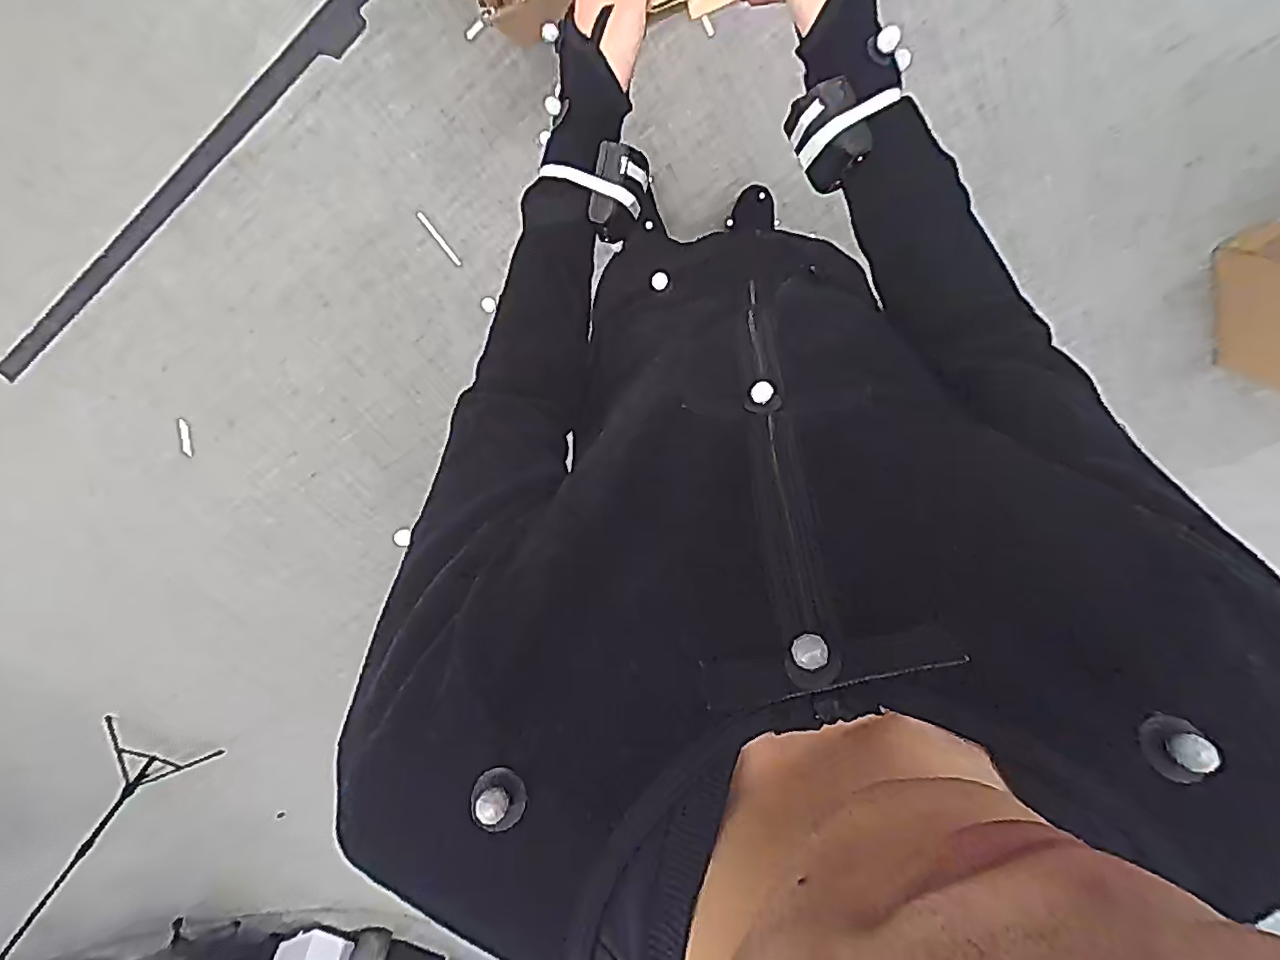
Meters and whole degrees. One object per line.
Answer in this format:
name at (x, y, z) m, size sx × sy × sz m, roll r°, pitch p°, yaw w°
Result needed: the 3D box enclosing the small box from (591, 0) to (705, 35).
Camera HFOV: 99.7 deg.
small box at (0.019, -0.482, 0.422) m, size 0.168 × 0.176 × 0.179 m, roll -18°, pitch 125°, yaw 8°
